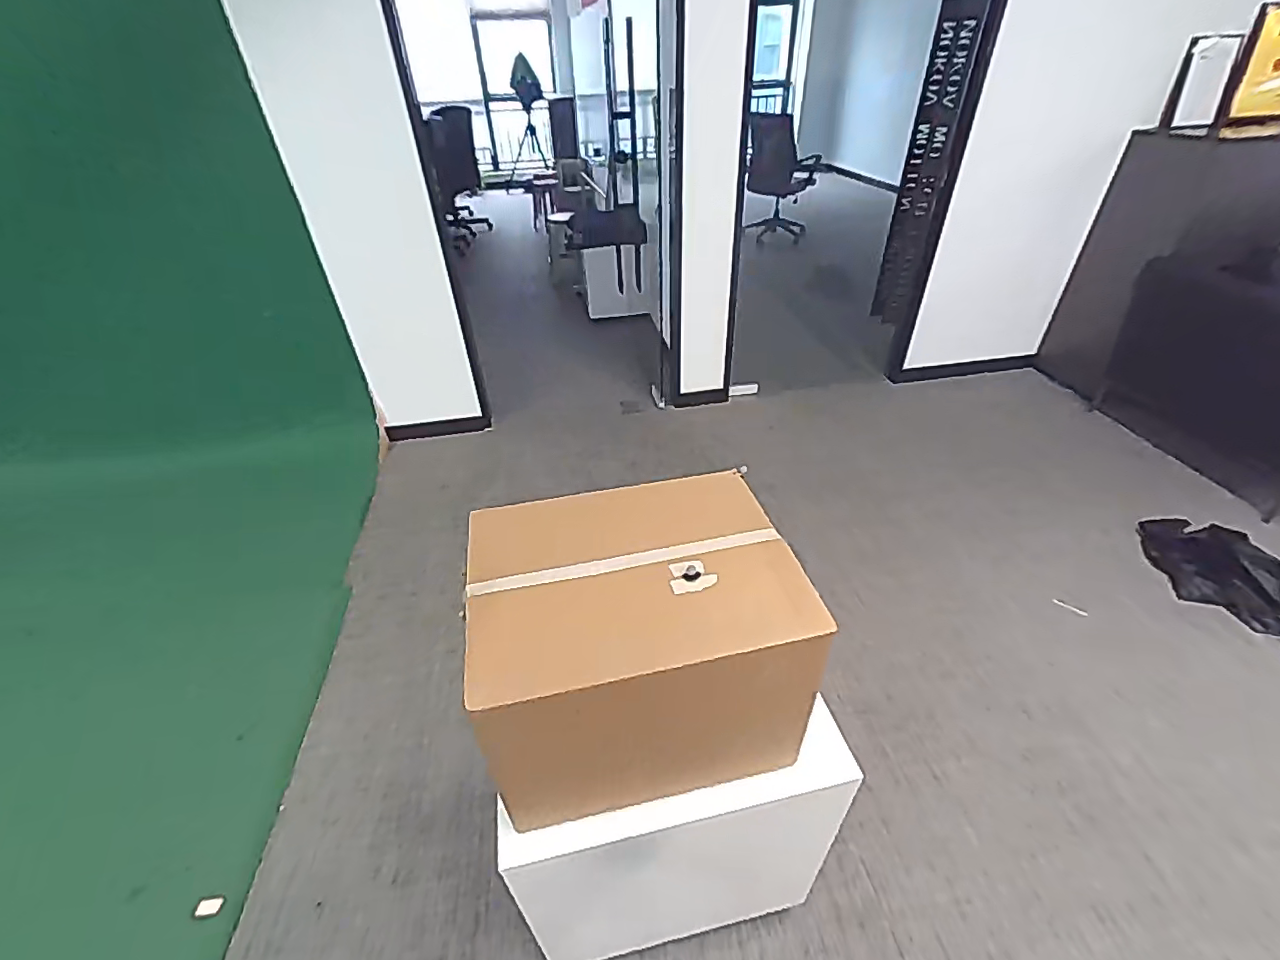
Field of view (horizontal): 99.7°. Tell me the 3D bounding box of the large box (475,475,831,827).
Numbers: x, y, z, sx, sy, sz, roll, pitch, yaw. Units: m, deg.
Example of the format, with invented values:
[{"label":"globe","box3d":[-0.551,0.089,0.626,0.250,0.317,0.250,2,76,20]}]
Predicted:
[{"label":"large box","box3d":[-0.007,0.228,0.780,0.408,0.320,0.320,-8,38,-10]}]
